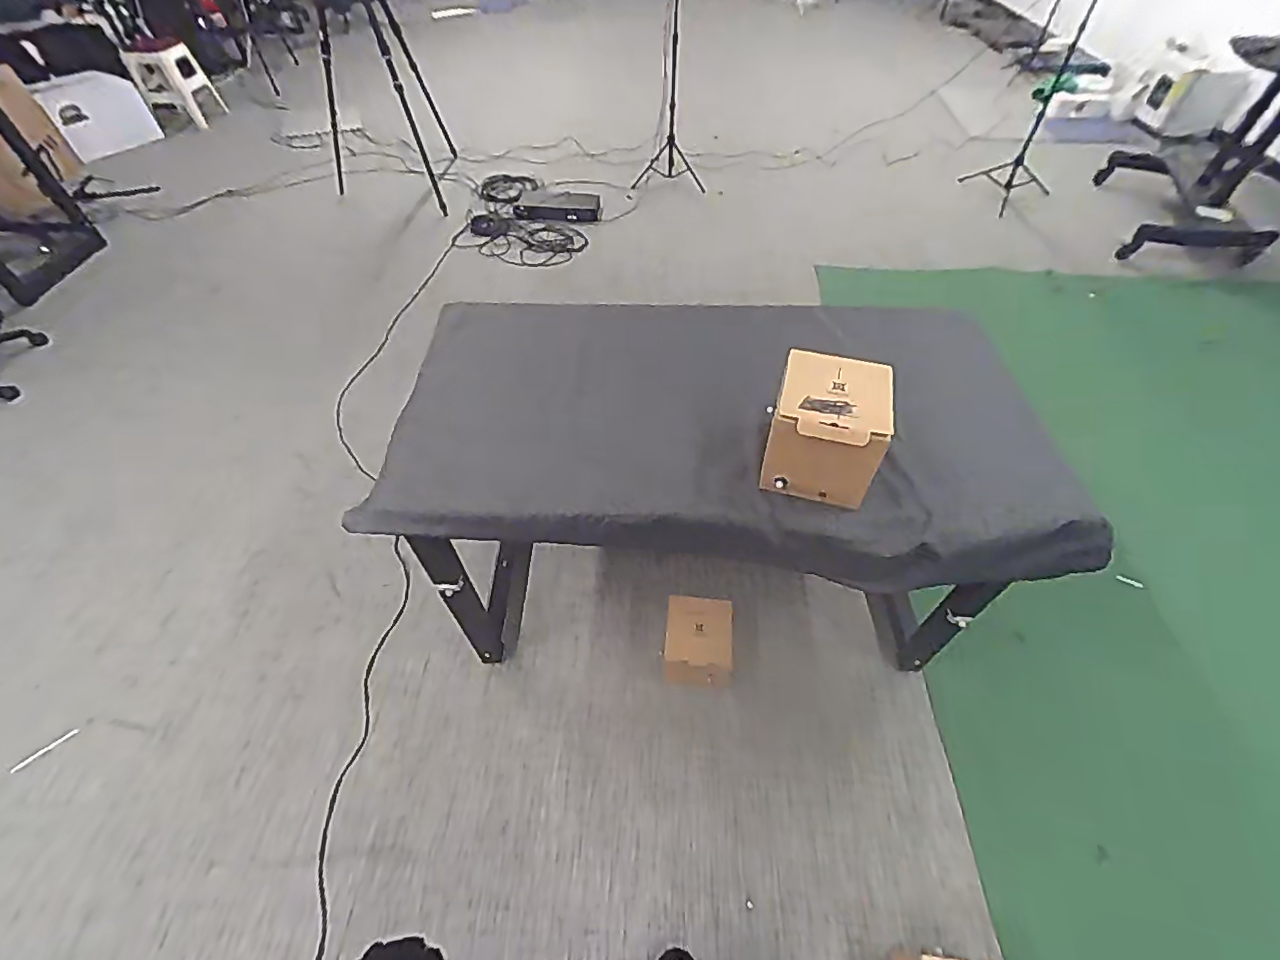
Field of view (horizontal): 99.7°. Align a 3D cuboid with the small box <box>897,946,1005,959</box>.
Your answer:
[{"bbox_3d":[0.583,0.965,0.979,0.179,0.176,0.168,4,51,5],"label":"small box"}]

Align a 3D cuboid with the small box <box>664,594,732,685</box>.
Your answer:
[{"bbox_3d":[0.153,0.425,1.427,0.168,0.176,0.179,4,50,4],"label":"small box"}]

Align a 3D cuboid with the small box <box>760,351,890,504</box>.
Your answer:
[{"bbox_3d":[0.301,-0.085,0.899,0.168,0.176,0.179,13,51,11],"label":"small box"}]
